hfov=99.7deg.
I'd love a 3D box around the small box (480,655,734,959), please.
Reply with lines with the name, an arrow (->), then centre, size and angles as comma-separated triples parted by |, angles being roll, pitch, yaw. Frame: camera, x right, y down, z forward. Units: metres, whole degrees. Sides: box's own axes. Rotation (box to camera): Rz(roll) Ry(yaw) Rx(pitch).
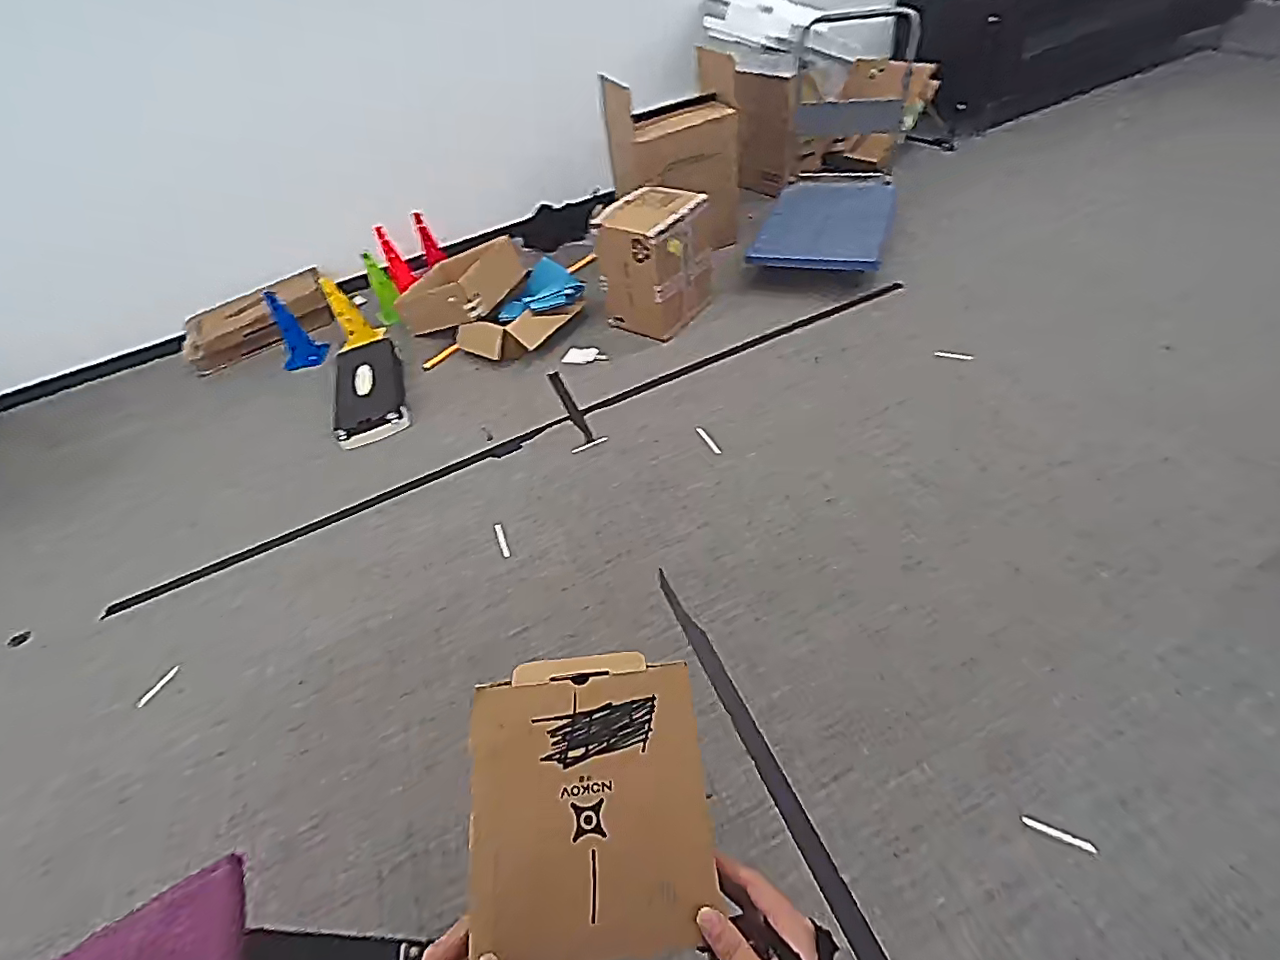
small box -> -0.031, 0.256, 0.451 | 0.168, 0.176, 0.179 | -6, 65, -4
